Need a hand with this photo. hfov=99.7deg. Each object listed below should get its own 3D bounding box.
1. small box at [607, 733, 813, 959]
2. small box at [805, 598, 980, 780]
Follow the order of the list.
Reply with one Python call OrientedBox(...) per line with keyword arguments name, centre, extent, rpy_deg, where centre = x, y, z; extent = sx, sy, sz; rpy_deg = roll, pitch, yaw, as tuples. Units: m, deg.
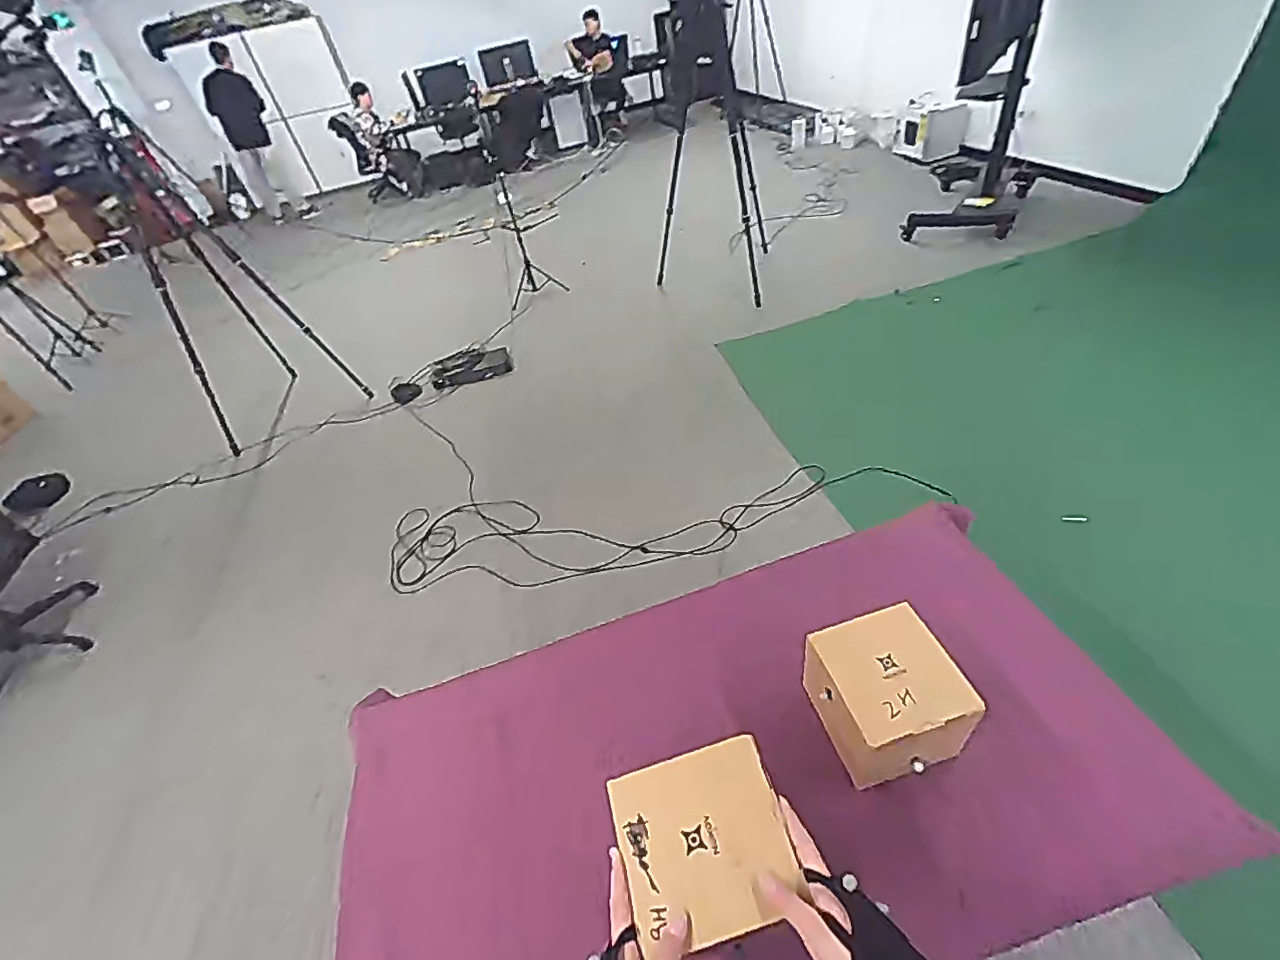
OrientedBox(name="small box", centre=(0.074, 0.418, 0.615), extent=(0.179, 0.176, 0.168), rpy_deg=(-16, 46, -2))
OrientedBox(name="small box", centre=(0.359, 0.315, 0.814), extent=(0.168, 0.176, 0.179), rpy_deg=(-17, 43, -3))
